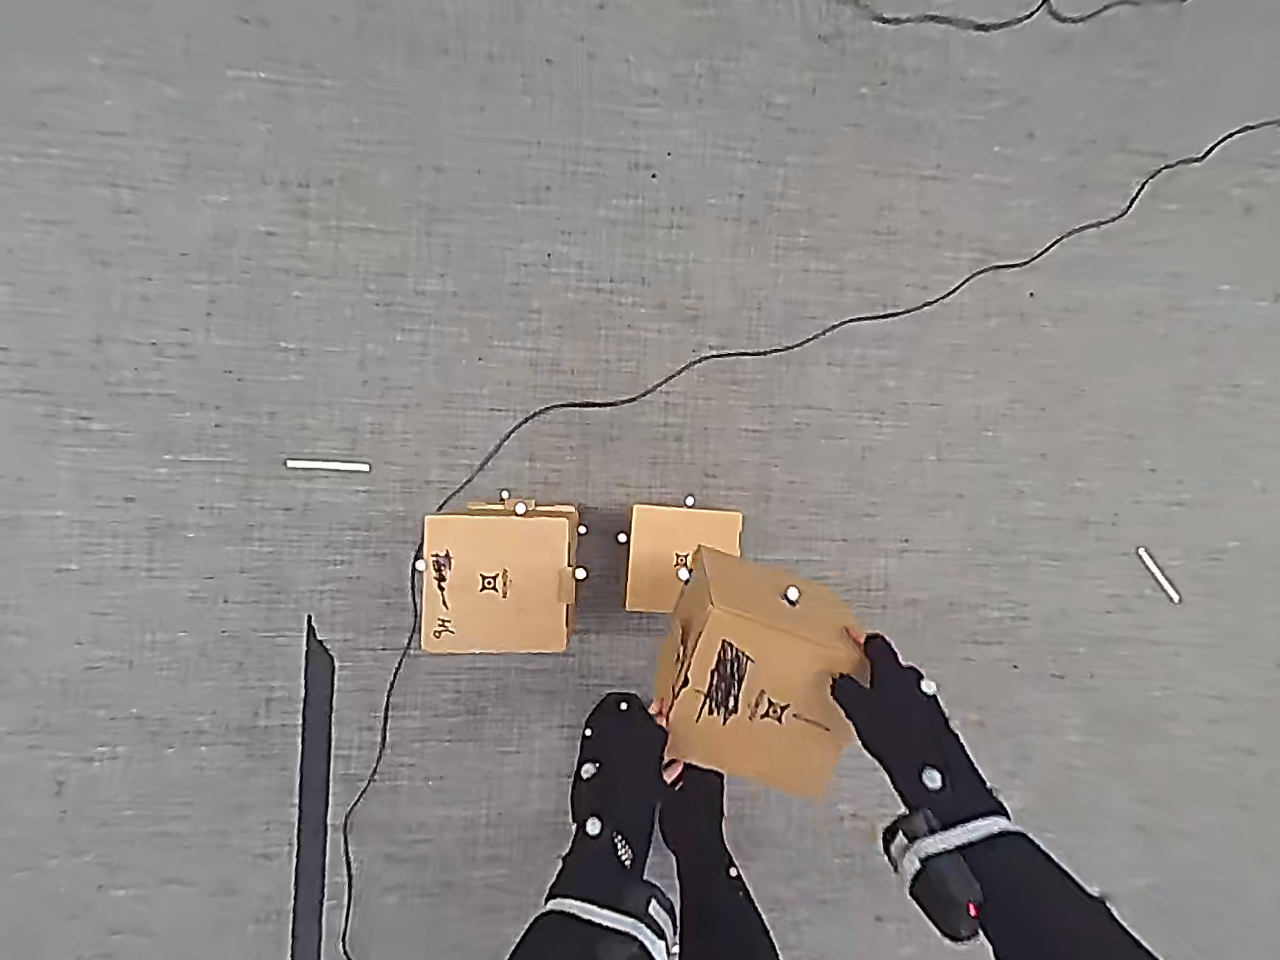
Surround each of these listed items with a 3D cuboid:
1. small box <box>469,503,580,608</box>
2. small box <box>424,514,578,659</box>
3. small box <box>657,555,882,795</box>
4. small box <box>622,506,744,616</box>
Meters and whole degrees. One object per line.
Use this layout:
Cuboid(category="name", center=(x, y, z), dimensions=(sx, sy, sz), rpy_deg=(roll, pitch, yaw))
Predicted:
Cuboid(category="small box", center=(-0.186, 0.129, 0.892), dimensions=(0.168, 0.176, 0.179), rpy_deg=(2, 90, -4))
Cuboid(category="small box", center=(-0.175, 0.133, 0.729), dimensions=(0.179, 0.176, 0.168), rpy_deg=(2, 89, -4))
Cuboid(category="small box", center=(0.124, 0.199, 0.599), dimensions=(0.179, 0.176, 0.168), rpy_deg=(17, 103, -3))
Cuboid(category="small box", center=(0.063, 0.133, 0.915), dimensions=(0.179, 0.176, 0.168), rpy_deg=(4, 89, -6))
